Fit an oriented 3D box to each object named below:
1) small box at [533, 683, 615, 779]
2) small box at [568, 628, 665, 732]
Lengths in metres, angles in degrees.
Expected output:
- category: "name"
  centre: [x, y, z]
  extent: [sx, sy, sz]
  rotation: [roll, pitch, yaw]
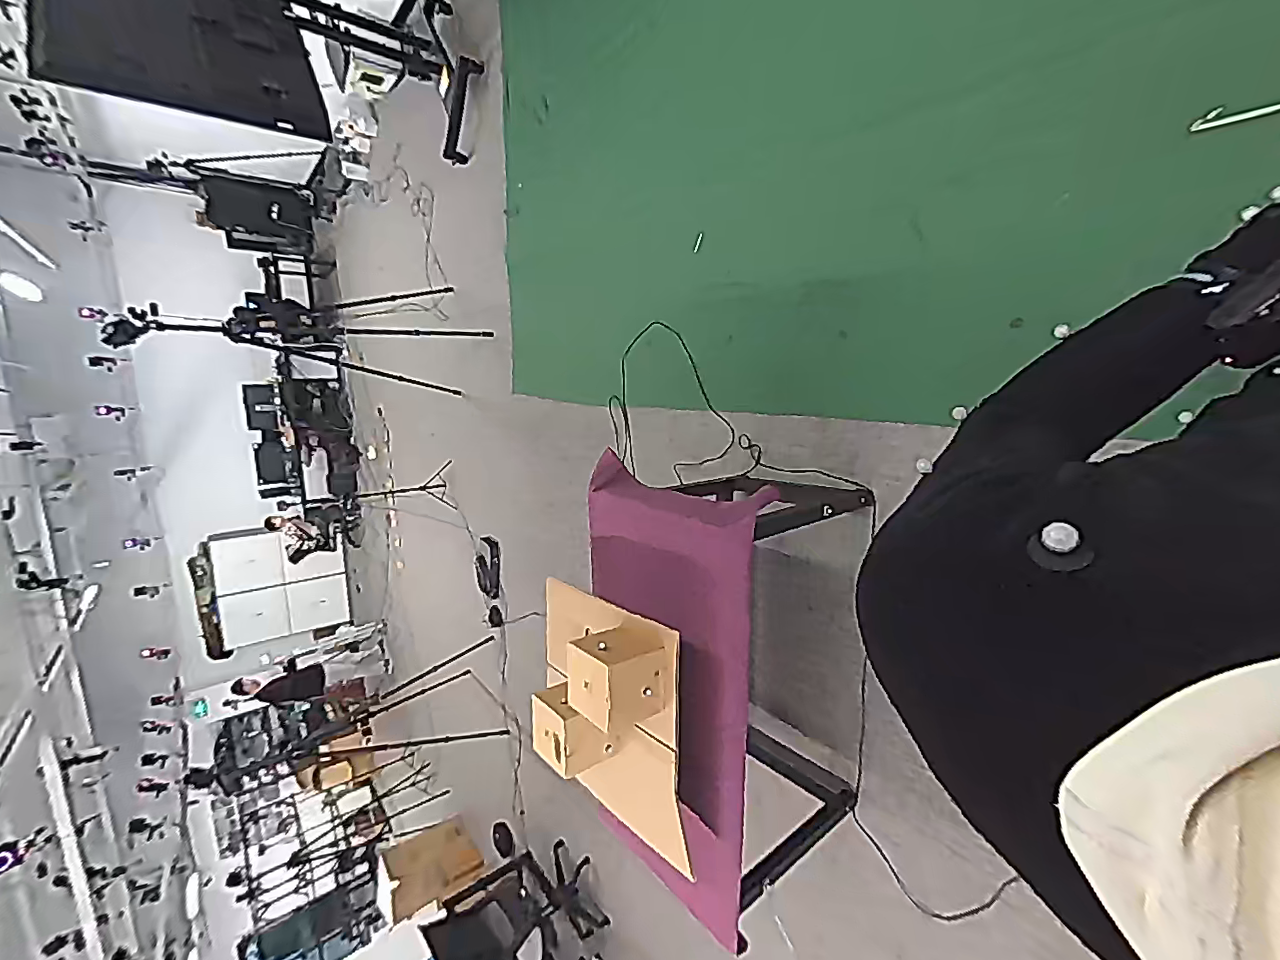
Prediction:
- category: "small box"
  centre: [-0.177, 0.668, 1.480]
  extent: [0.179, 0.176, 0.168]
  rotation: [8, 100, 51]
- category: "small box"
  centre: [-0.058, 0.474, 1.315]
  extent: [0.179, 0.176, 0.168]
  rotation: [7, 100, 49]
